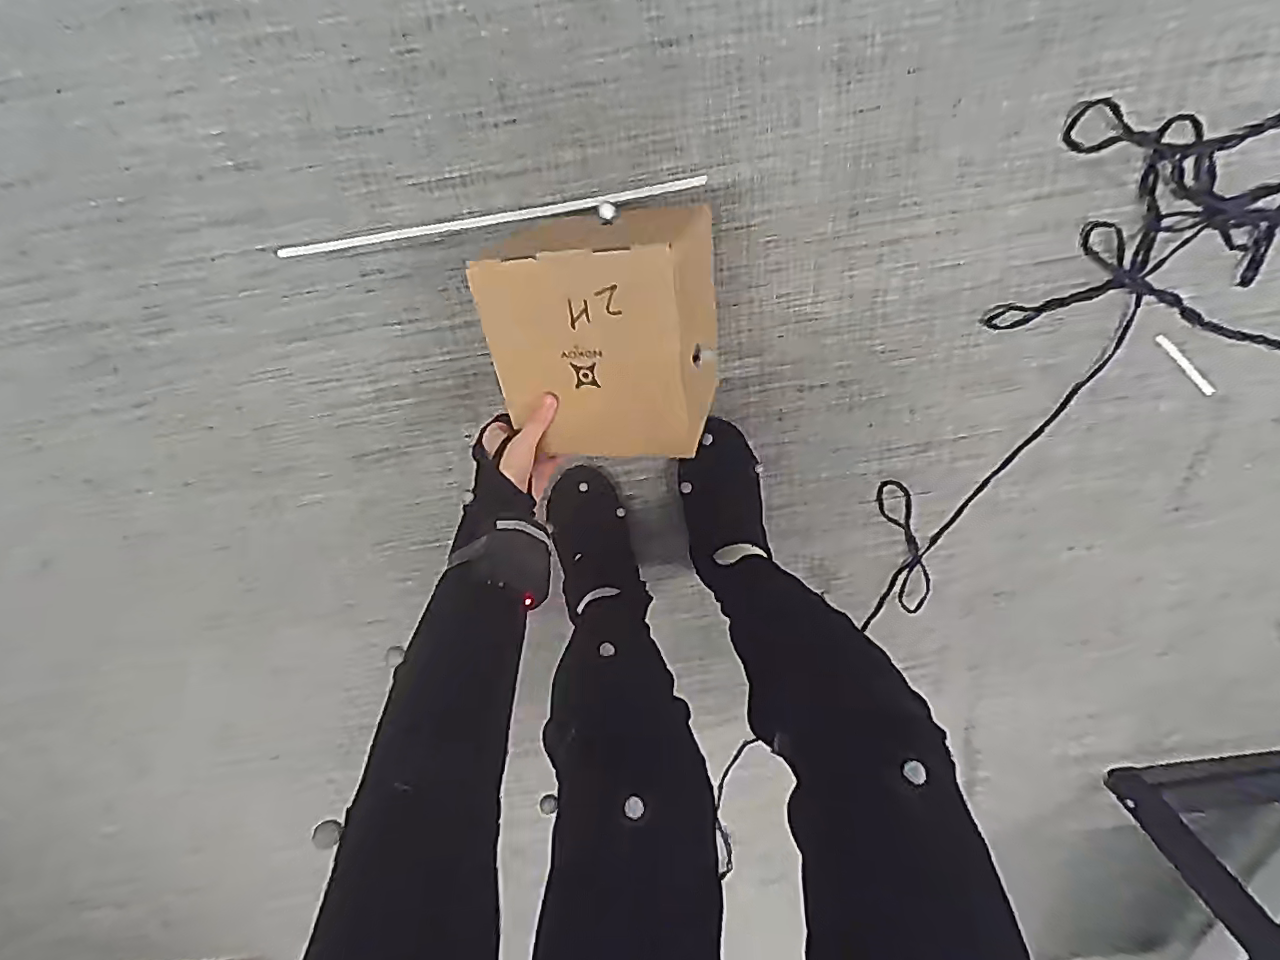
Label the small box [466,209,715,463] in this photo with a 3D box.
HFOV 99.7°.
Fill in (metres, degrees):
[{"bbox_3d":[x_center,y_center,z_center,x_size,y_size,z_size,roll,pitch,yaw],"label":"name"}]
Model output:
[{"bbox_3d":[-0.025,-0.134,0.496,0.168,0.176,0.179,2,124,15],"label":"small box"}]
